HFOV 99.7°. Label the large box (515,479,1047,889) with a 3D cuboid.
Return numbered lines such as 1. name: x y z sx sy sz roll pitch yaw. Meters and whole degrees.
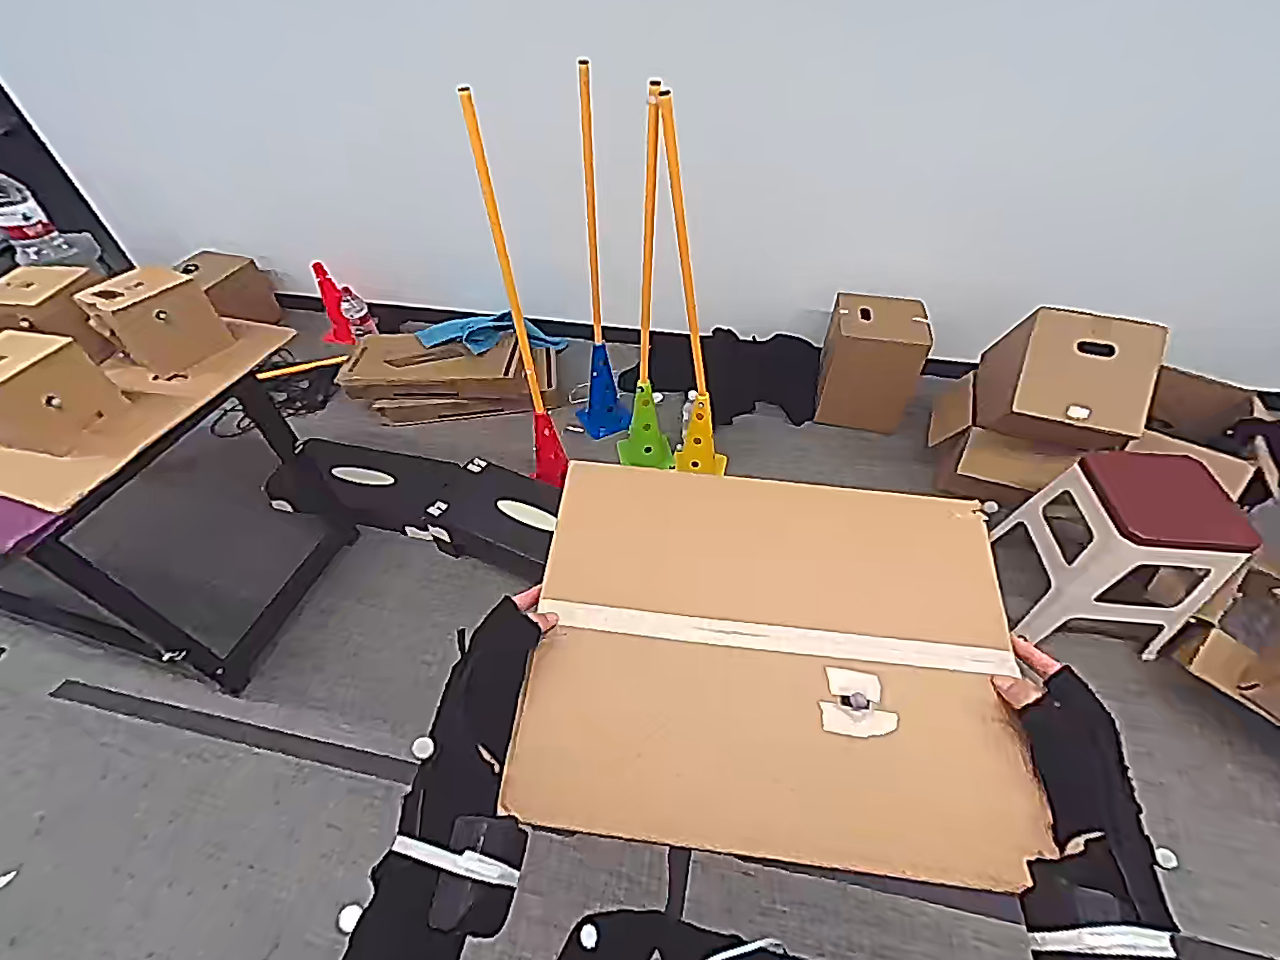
1. large box: 0.113 0.221 0.602 0.408 0.320 0.320 6 61 3
